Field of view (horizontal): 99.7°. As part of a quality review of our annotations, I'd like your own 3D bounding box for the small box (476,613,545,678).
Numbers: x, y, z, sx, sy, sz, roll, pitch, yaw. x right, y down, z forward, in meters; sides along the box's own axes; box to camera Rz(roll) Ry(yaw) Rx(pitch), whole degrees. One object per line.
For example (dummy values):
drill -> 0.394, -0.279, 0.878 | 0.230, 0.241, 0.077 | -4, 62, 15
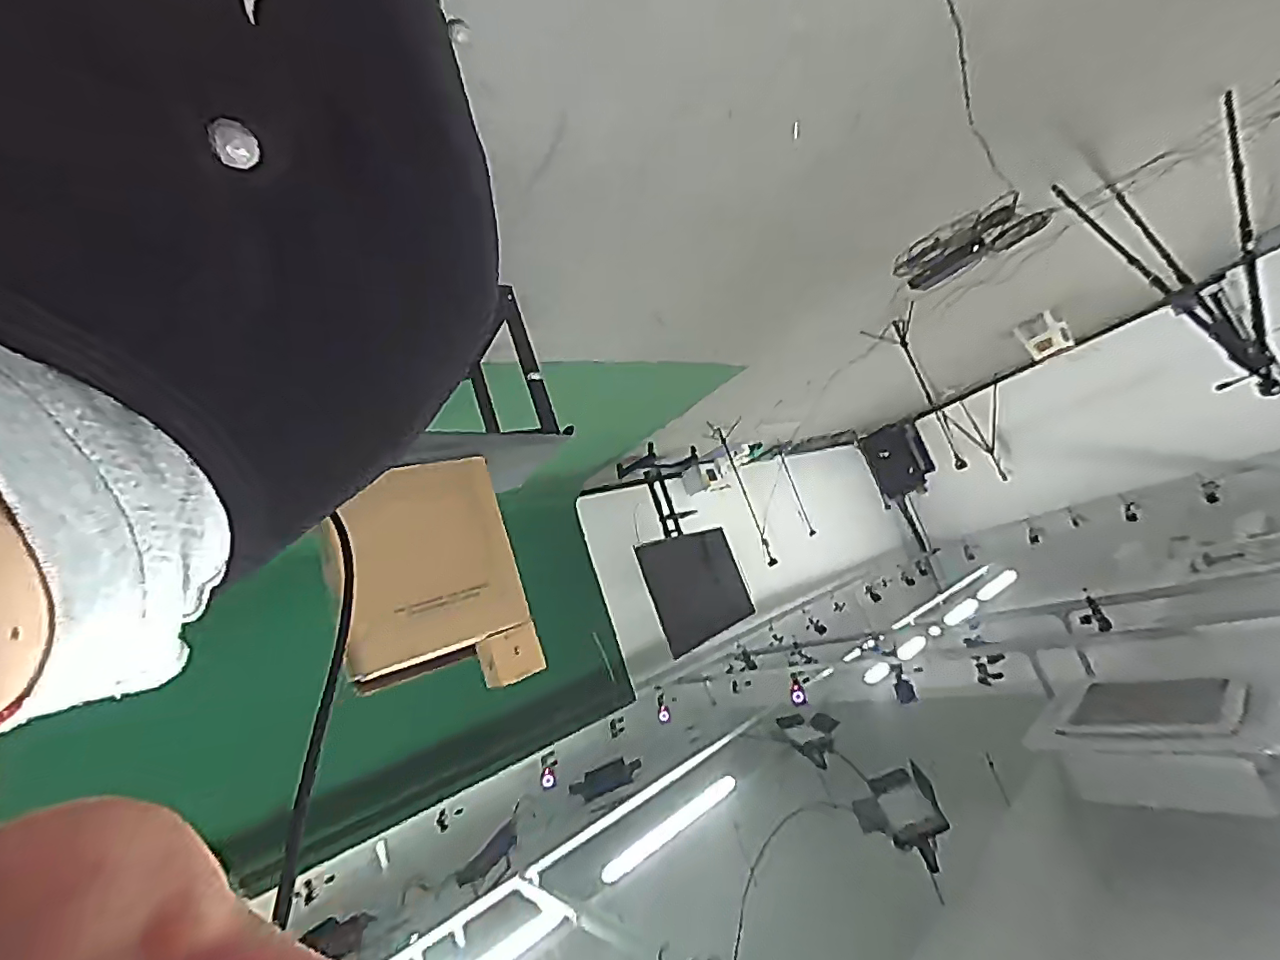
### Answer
small box -> -0.460, 0.577, 1.902 | 0.168, 0.176, 0.179 | -13, 168, -35
